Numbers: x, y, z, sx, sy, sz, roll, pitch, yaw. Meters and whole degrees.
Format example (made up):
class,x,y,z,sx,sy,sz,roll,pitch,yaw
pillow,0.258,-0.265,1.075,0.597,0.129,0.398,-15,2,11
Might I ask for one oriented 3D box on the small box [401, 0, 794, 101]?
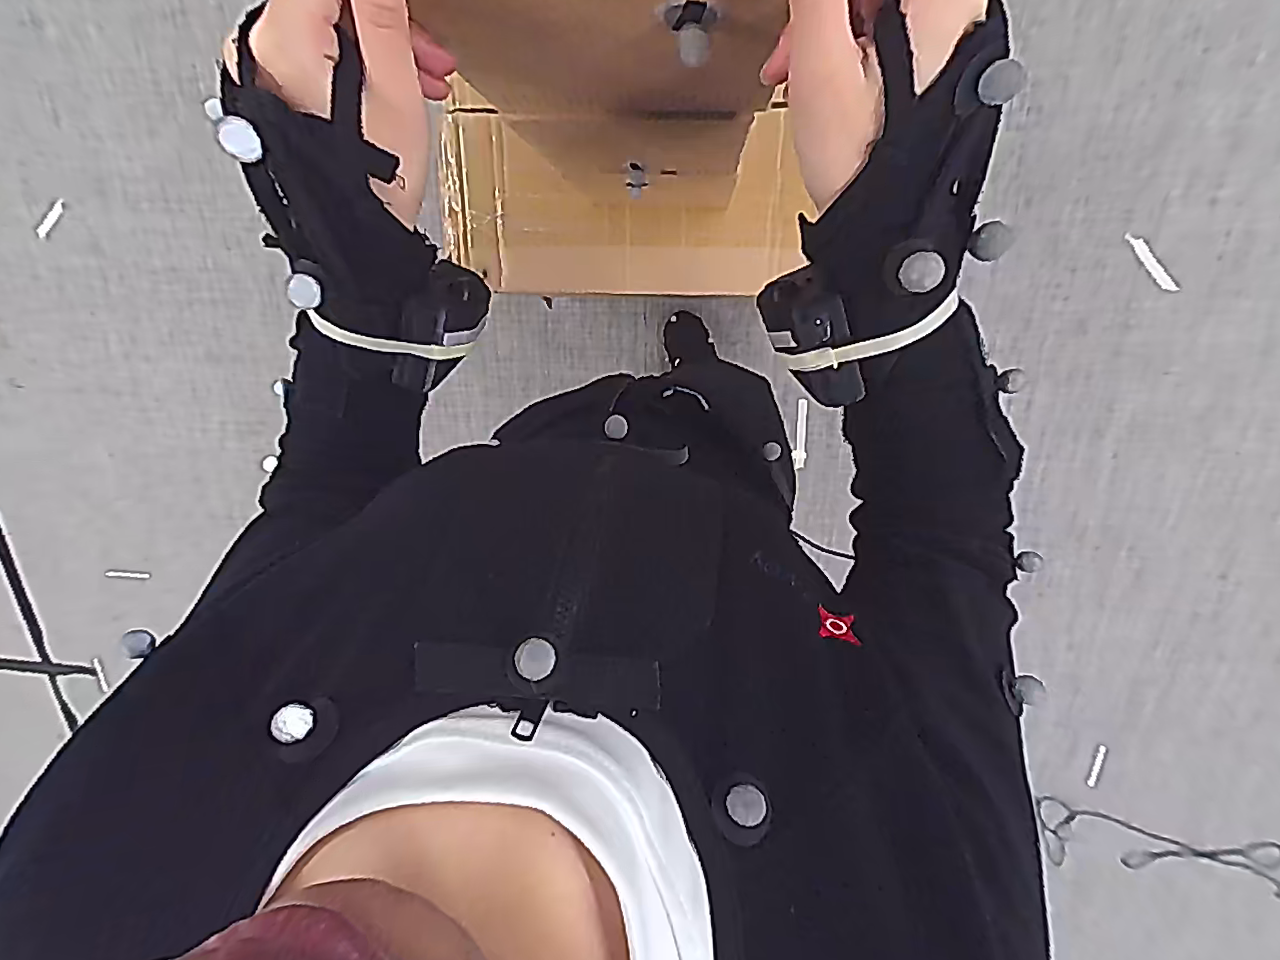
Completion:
class,x,y,z,sx,sy,sz,roll,pitch,yaw
small box,-0.012,-0.289,0.235,0.179,0.176,0.168,4,108,5

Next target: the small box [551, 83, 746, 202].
class,x,y,z,sx,sy,sz,roll,pitch,yaw
small box,0.016,-0.388,0.548,0.179,0.176,0.168,4,108,5
